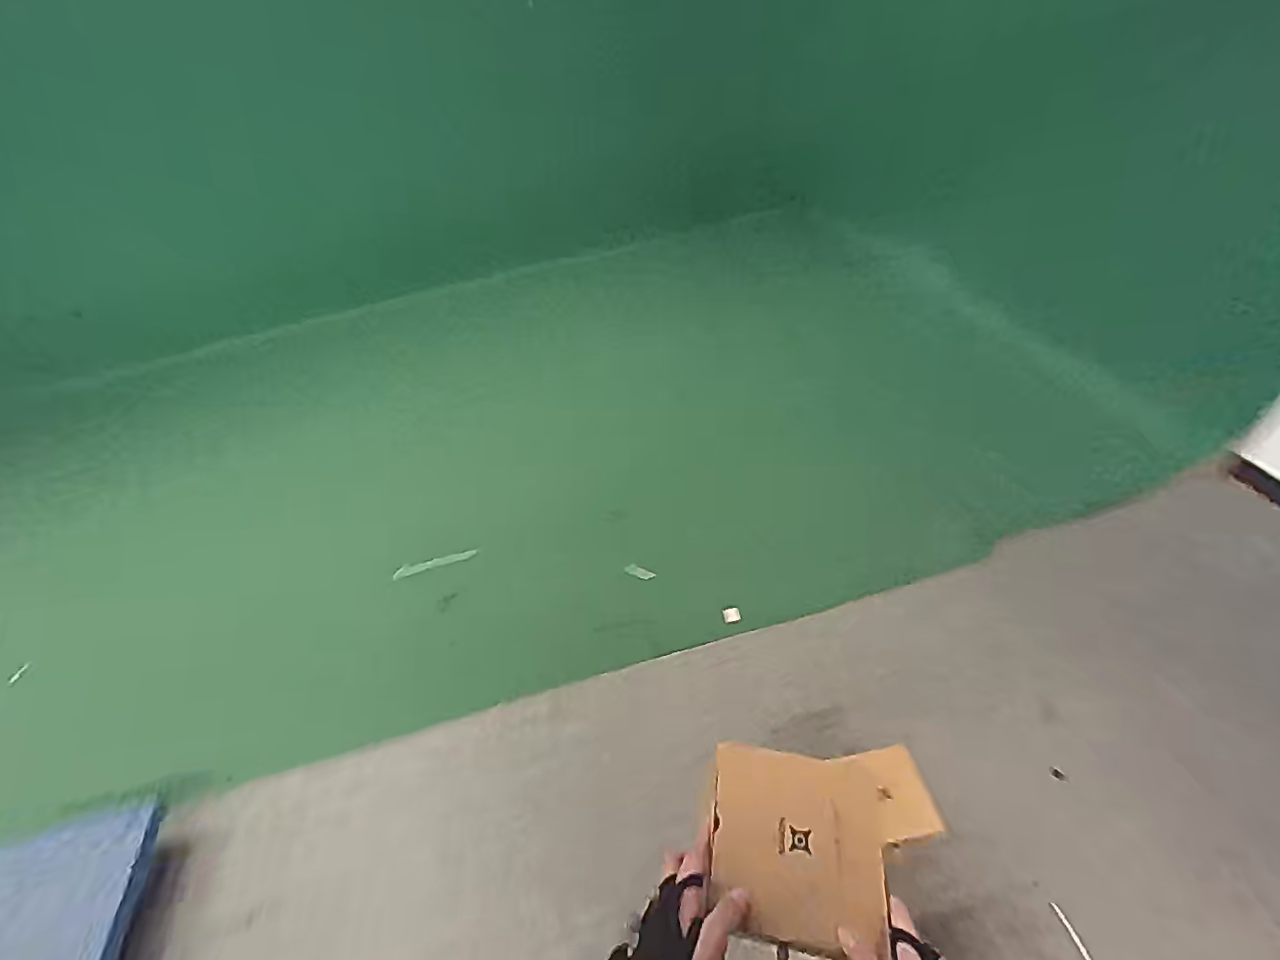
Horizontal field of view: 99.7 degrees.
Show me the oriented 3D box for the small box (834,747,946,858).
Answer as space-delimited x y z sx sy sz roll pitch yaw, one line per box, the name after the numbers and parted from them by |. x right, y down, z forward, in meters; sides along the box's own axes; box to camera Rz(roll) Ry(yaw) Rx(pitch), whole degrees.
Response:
0.521 0.707 1.177 0.179 0.176 0.168 -12 46 0 | small box

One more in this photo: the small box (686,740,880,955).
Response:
0.150 0.422 0.620 0.179 0.176 0.168 8 50 5 | small box
